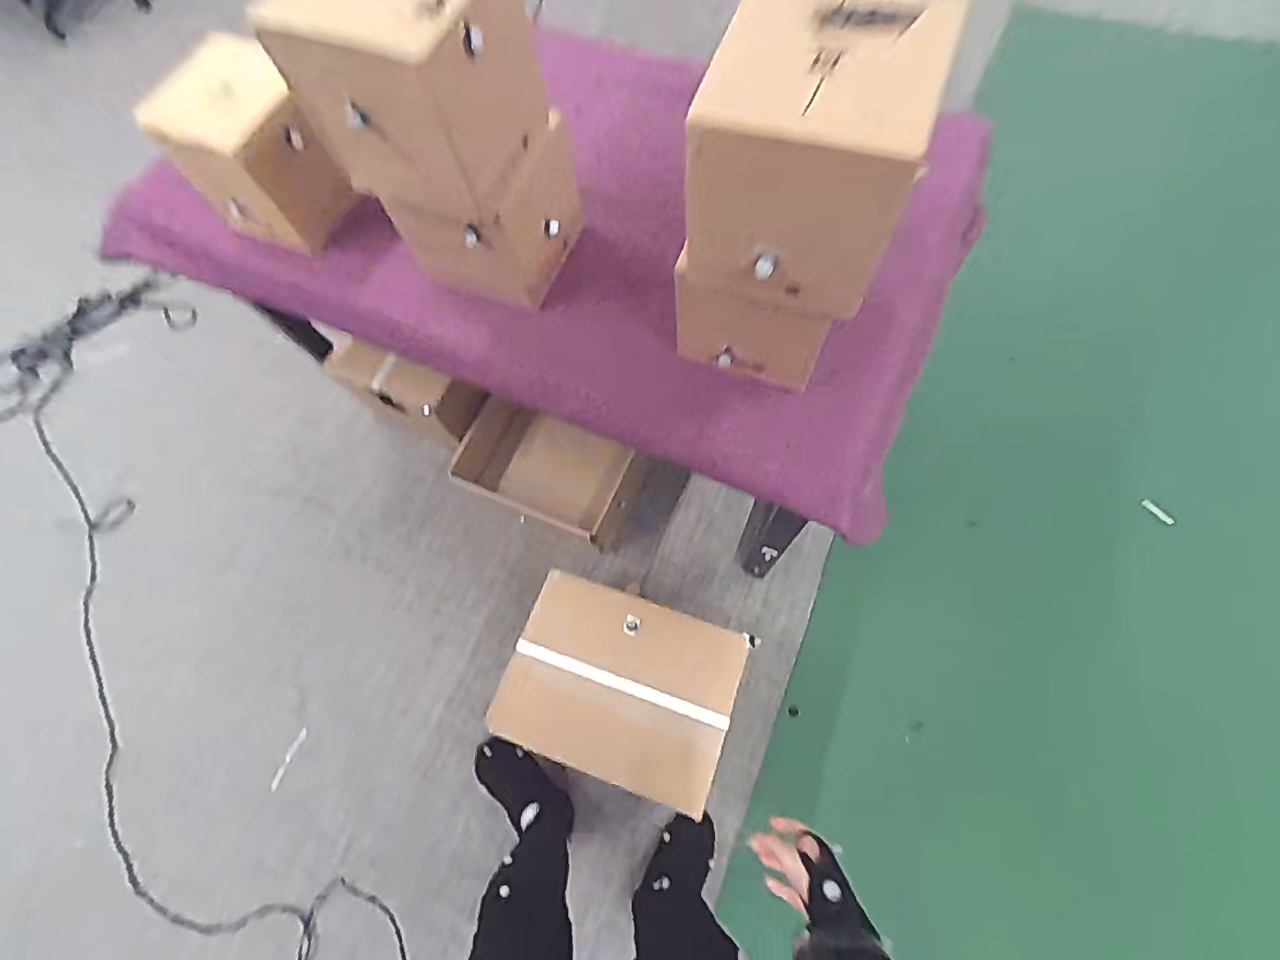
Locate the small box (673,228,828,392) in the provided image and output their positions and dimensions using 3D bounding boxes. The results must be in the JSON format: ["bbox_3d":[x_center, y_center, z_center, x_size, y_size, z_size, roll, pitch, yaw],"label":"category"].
[{"bbox_3d":[0.143,-0.234,0.629,0.168,0.176,0.179,18,71,12],"label":"small box"}]

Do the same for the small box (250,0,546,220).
[{"bbox_3d":[-0.220,-0.395,0.543,0.179,0.176,0.168,19,72,12],"label":"small box"}]

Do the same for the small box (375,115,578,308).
[{"bbox_3d":[-0.197,-0.351,0.701,0.179,0.176,0.168,20,71,12],"label":"small box"}]

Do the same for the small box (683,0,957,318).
[{"bbox_3d":[0.141,-0.276,0.470,0.168,0.176,0.179,18,71,13],"label":"small box"}]

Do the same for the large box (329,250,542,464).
[{"bbox_3d":[-0.503,-0.313,1.421,0.320,0.320,0.408,21,74,11],"label":"large box"}]

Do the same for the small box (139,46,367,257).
[{"bbox_3d":[-0.525,-0.459,0.770,0.168,0.176,0.179,21,73,11],"label":"small box"}]
